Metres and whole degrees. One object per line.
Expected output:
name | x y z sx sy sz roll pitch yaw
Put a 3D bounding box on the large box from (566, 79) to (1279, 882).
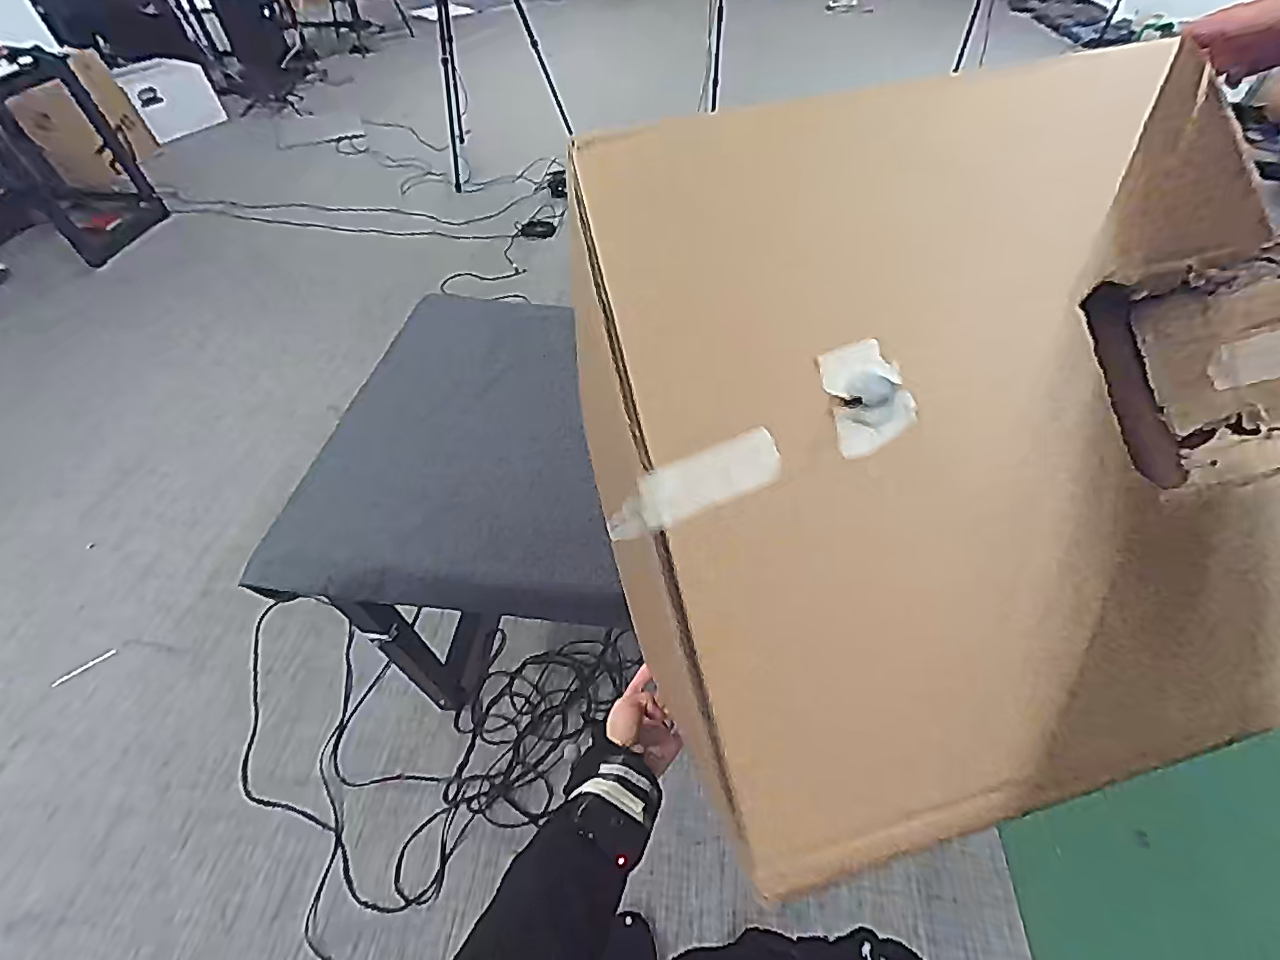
large box | 0.130 -0.004 0.431 0.320 0.408 0.320 -14 86 -9
